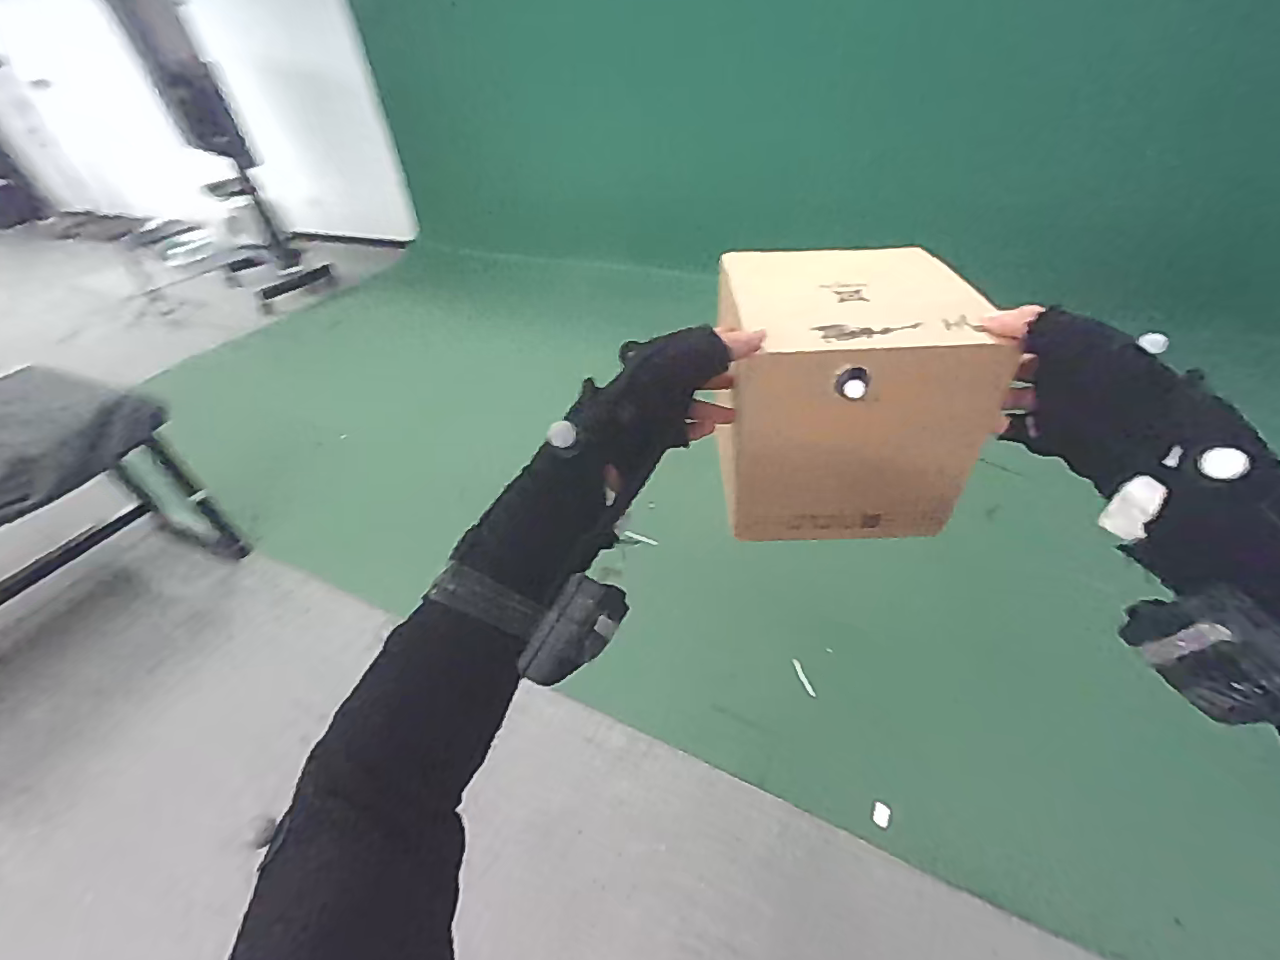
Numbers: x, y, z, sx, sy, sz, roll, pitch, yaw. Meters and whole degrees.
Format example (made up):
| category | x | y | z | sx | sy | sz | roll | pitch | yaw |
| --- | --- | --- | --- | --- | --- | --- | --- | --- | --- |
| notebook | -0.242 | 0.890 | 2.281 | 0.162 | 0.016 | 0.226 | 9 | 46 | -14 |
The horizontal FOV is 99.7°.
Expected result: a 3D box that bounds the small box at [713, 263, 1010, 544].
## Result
| category | x | y | z | sx | sy | sz | roll | pitch | yaw |
| --- | --- | --- | --- | --- | --- | --- | --- | --- | --- |
| small box | 0.152 | -0.066 | 0.449 | 0.168 | 0.176 | 0.179 | -2 | 39 | 3 |
